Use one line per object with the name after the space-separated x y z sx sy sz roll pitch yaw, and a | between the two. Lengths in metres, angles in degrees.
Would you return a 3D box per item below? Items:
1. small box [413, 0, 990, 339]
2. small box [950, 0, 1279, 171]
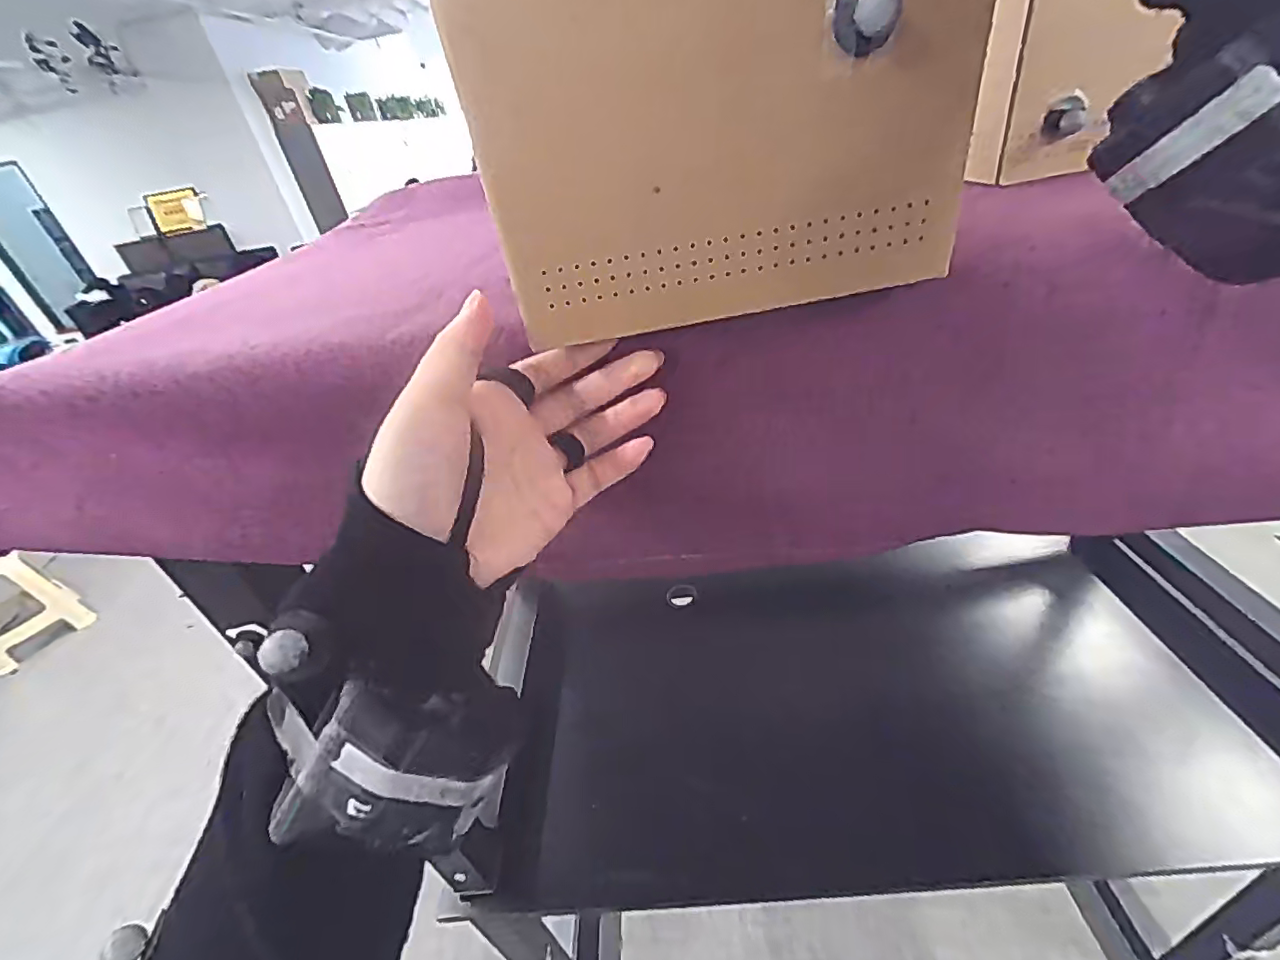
0.018 -0.178 0.226 0.179 0.176 0.168 -10 37 2 | small box
0.274 -0.306 0.343 0.168 0.176 0.179 -10 33 0 | small box
